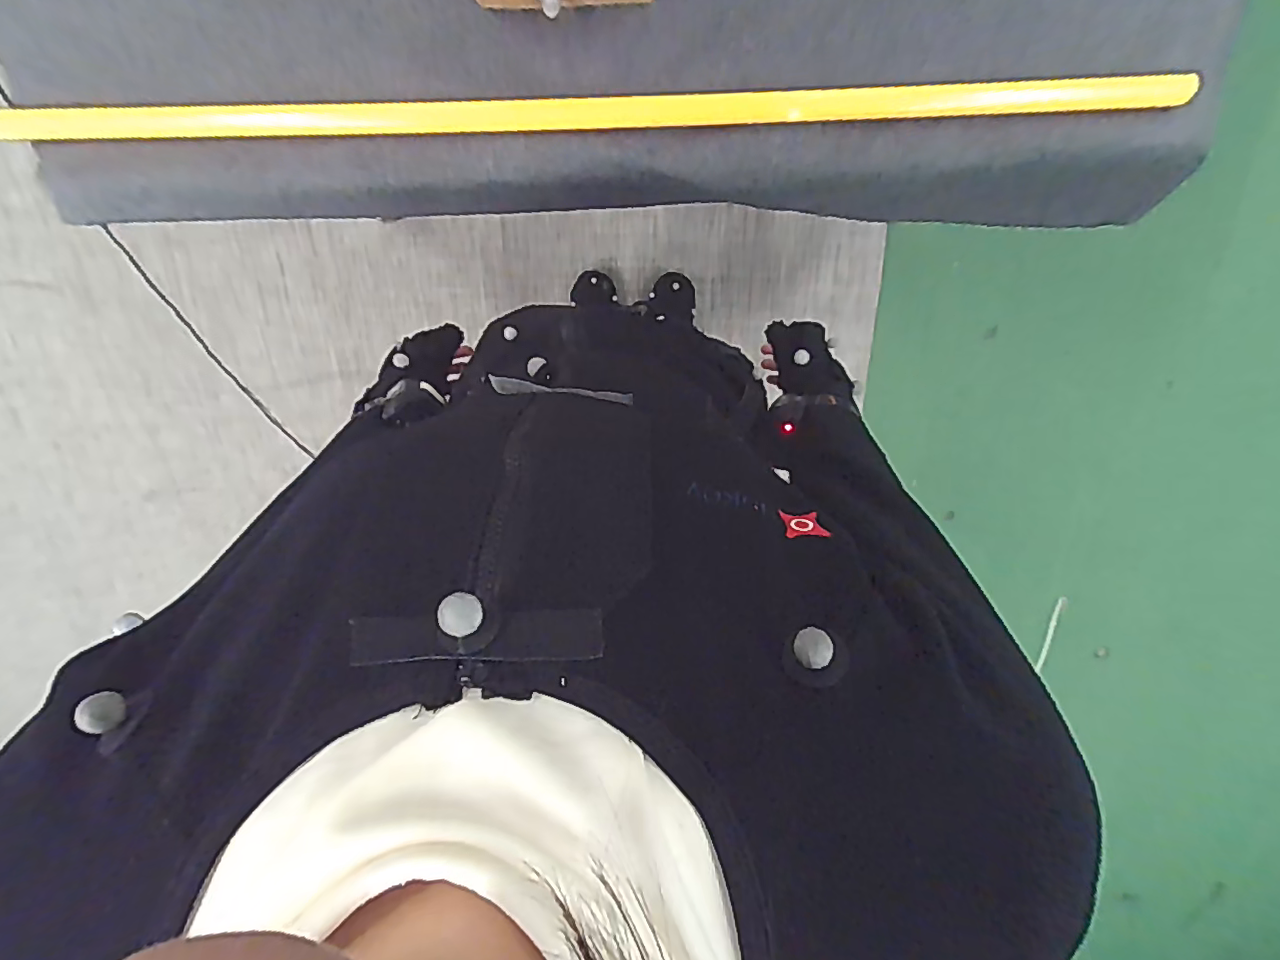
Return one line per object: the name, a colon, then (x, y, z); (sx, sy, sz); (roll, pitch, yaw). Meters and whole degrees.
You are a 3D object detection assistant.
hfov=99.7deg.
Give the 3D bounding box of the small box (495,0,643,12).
small box: (-0.072, -0.506, 0.414); (0.168, 0.176, 0.179); (-2, 113, 3)
